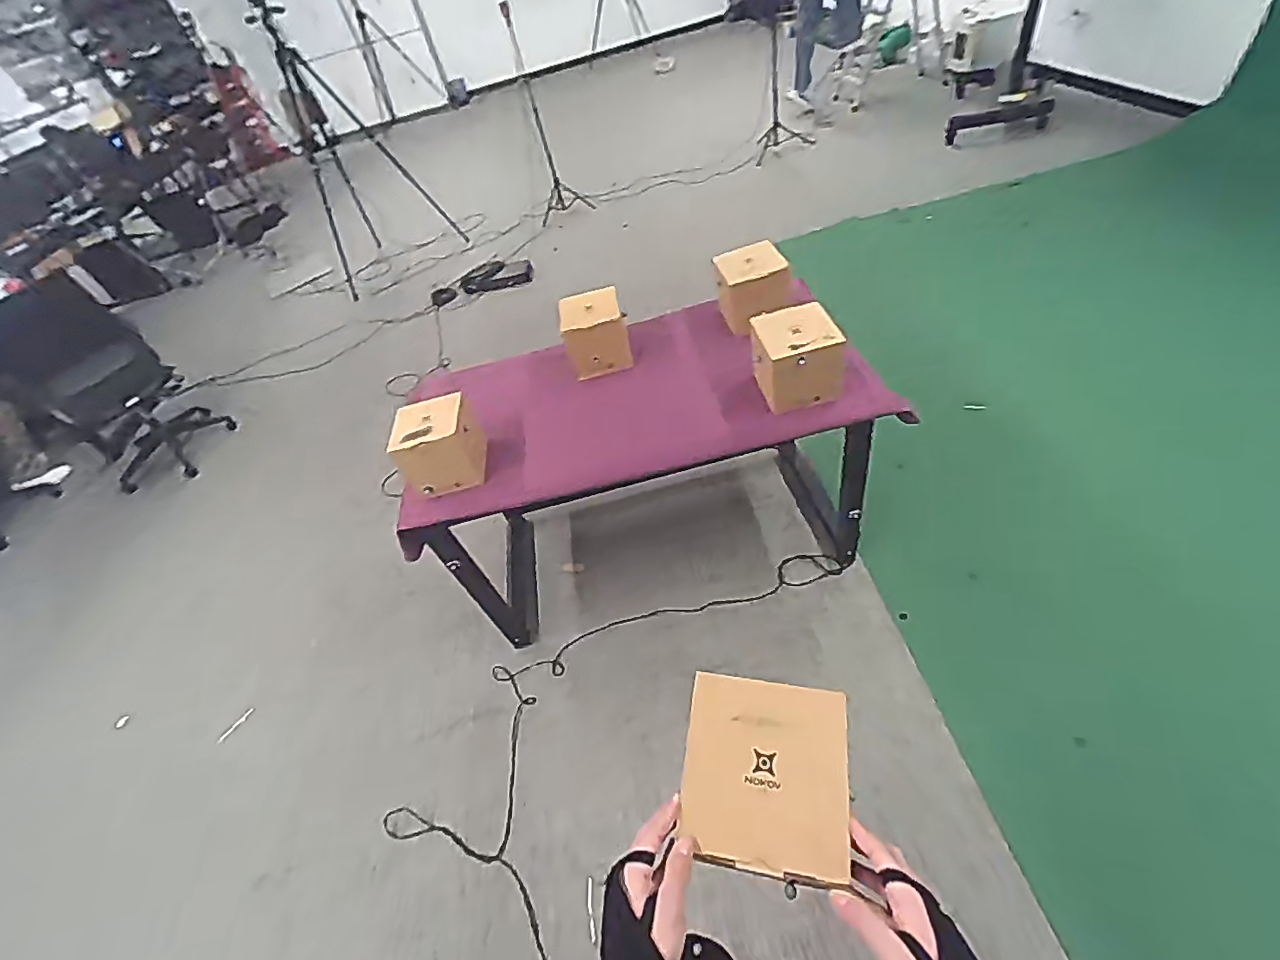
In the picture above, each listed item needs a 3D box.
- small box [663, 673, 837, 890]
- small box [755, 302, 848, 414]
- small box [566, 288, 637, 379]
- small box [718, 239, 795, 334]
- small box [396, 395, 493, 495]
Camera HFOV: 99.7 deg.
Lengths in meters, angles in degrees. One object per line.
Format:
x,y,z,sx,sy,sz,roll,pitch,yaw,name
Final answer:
0.131,0.348,0.626,0.168,0.176,0.179,5,55,13,small box
0.377,-0.286,1.277,0.168,0.176,0.179,-15,47,6,small box
-0.110,-0.418,1.552,0.168,0.176,0.179,-13,49,5,small box
0.328,-0.541,1.520,0.168,0.176,0.179,-18,47,5,small box
-0.481,-0.081,1.358,0.168,0.176,0.179,-15,45,3,small box
